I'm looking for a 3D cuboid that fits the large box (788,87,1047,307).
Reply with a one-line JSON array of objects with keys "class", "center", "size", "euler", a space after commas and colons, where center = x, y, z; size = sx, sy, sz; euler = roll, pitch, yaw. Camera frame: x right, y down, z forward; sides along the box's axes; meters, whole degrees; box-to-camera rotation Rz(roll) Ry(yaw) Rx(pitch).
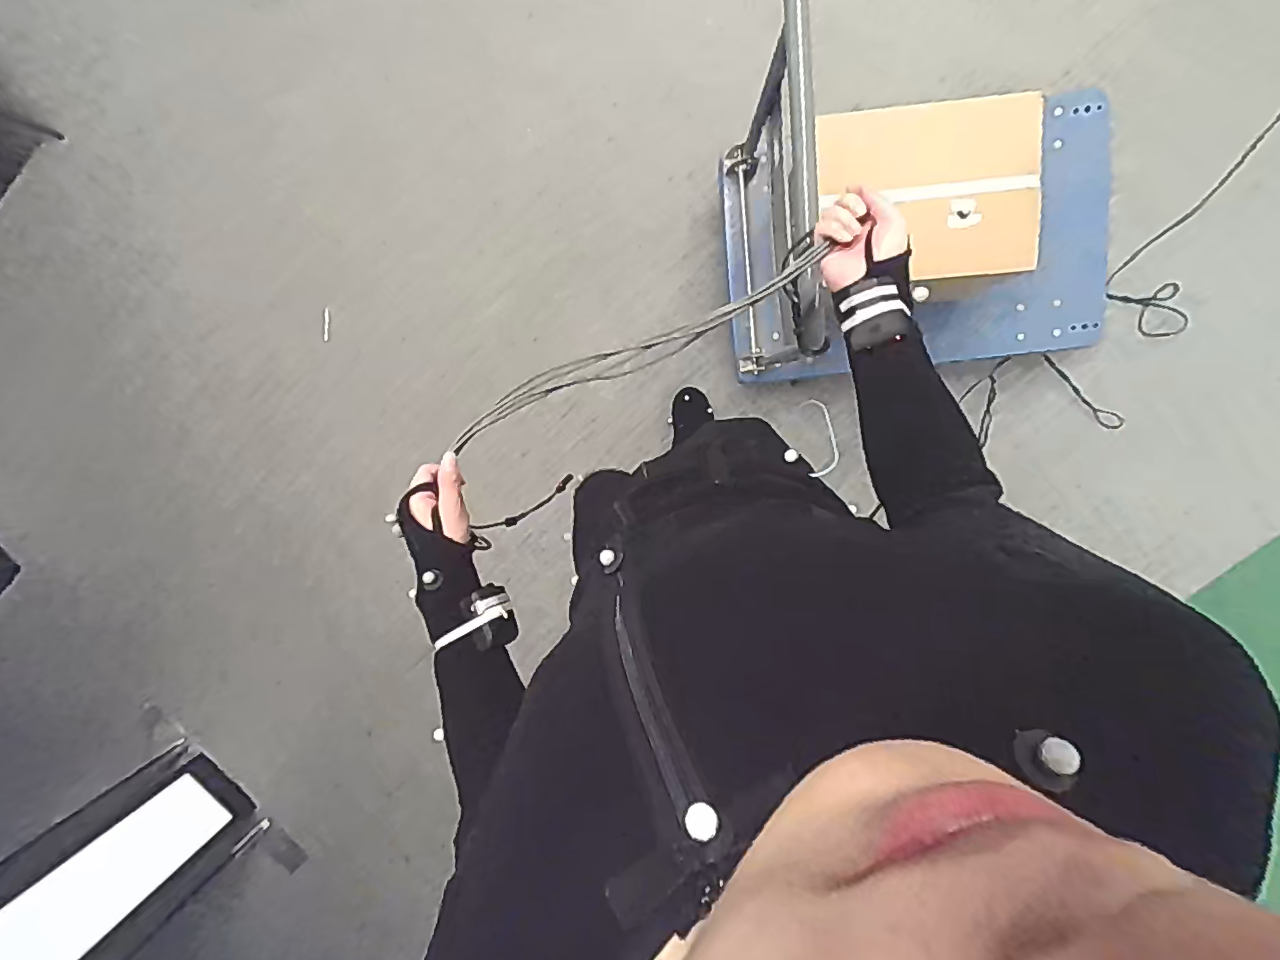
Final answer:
[{"class": "large box", "center": [0.548, -0.563, 1.148], "size": [0.408, 0.320, 0.320], "euler": [-2, 99, 5]}]
